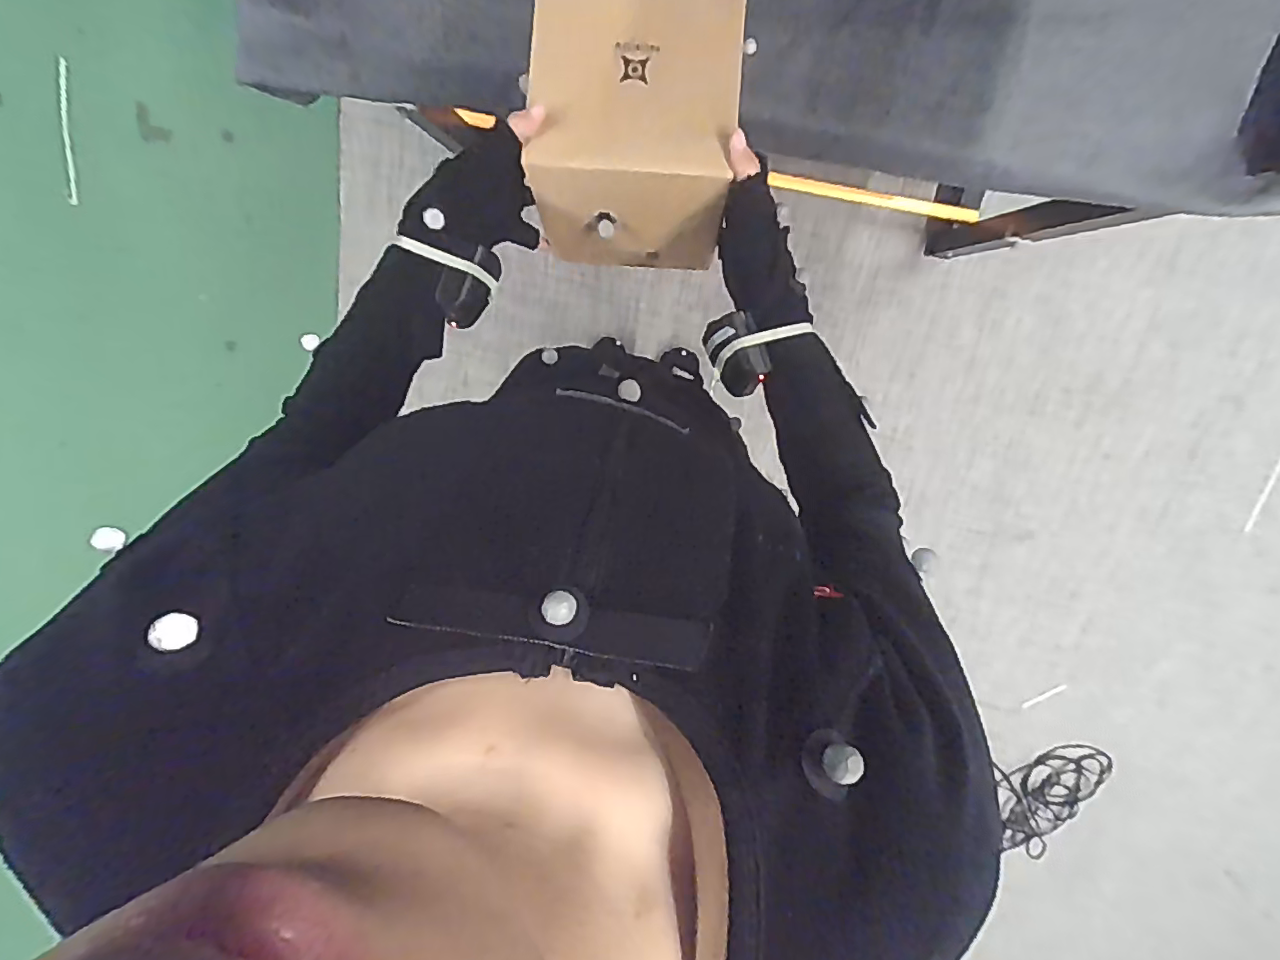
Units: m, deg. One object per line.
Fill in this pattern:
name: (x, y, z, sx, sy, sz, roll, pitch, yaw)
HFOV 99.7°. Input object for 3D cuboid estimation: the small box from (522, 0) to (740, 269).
small box: (-0.004, -0.318, 0.507, 0.168, 0.176, 0.179, 4, 86, 0)
